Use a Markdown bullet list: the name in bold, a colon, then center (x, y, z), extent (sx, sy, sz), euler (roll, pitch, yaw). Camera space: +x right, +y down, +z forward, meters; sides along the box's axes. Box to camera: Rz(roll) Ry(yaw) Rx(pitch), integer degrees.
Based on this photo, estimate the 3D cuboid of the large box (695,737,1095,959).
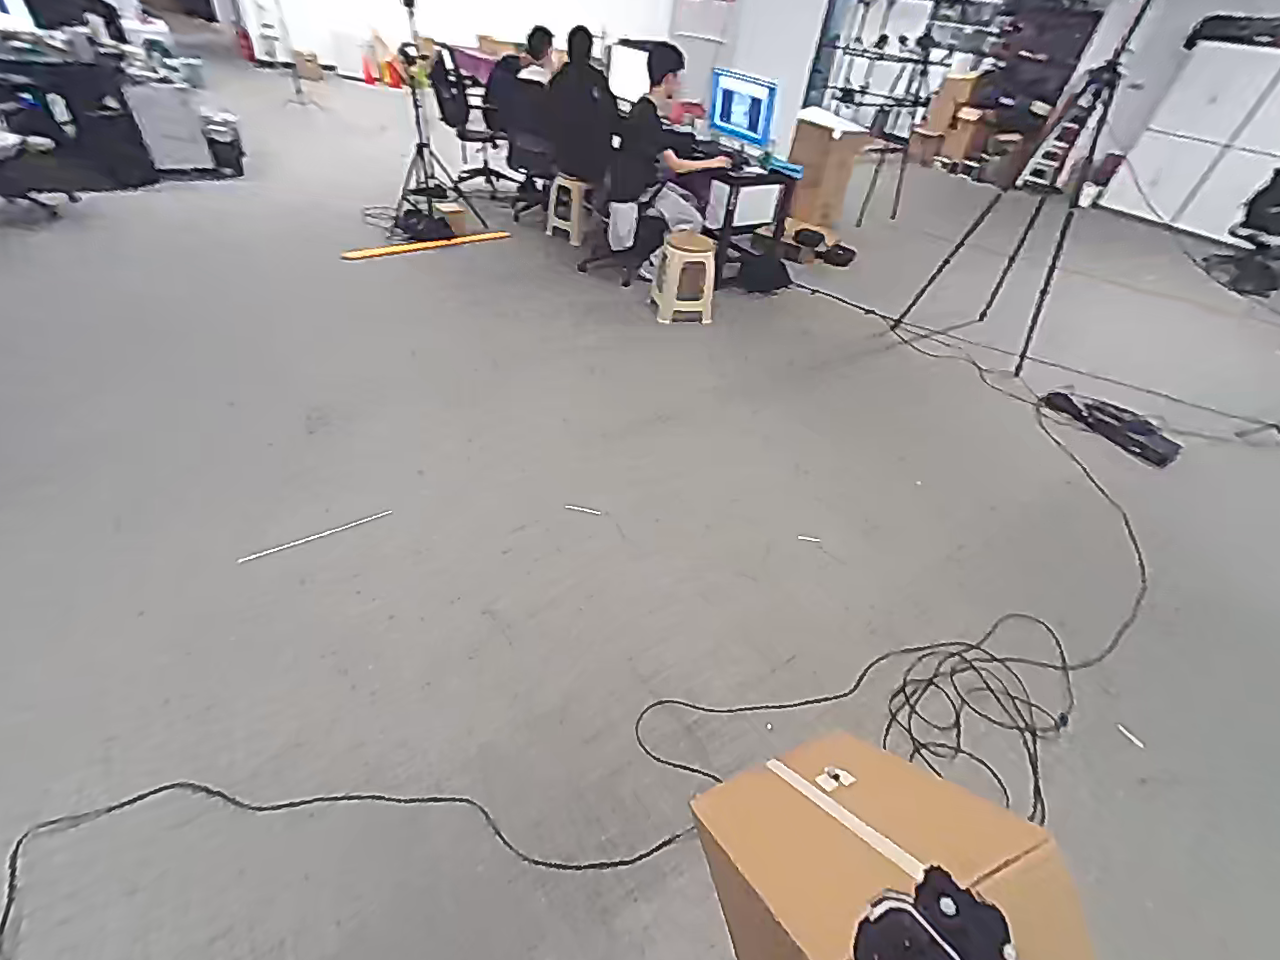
- **large box**: center (0.324, 0.617, 0.740), extent (0.320, 0.408, 0.320), euler (-15, 84, -16)
